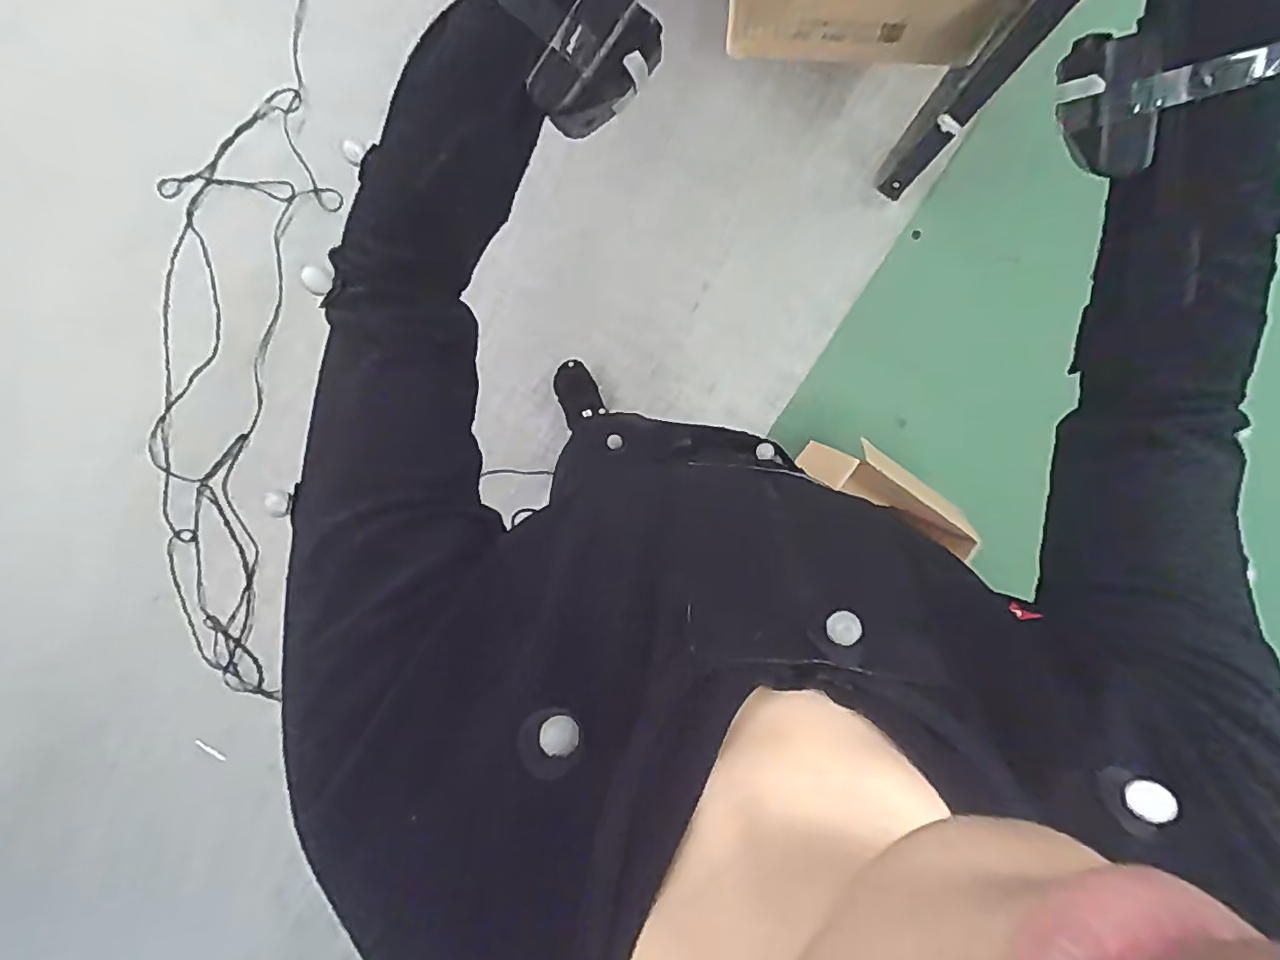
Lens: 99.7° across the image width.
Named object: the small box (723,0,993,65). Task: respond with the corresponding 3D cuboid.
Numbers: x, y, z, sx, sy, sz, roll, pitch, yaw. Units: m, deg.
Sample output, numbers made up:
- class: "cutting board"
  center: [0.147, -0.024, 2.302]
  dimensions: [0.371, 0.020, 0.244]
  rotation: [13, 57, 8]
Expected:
- class: "small box"
  center: [0.138, -0.373, 0.297]
  dimensions: [0.168, 0.176, 0.179]
  rotation: [6, 89, 5]
